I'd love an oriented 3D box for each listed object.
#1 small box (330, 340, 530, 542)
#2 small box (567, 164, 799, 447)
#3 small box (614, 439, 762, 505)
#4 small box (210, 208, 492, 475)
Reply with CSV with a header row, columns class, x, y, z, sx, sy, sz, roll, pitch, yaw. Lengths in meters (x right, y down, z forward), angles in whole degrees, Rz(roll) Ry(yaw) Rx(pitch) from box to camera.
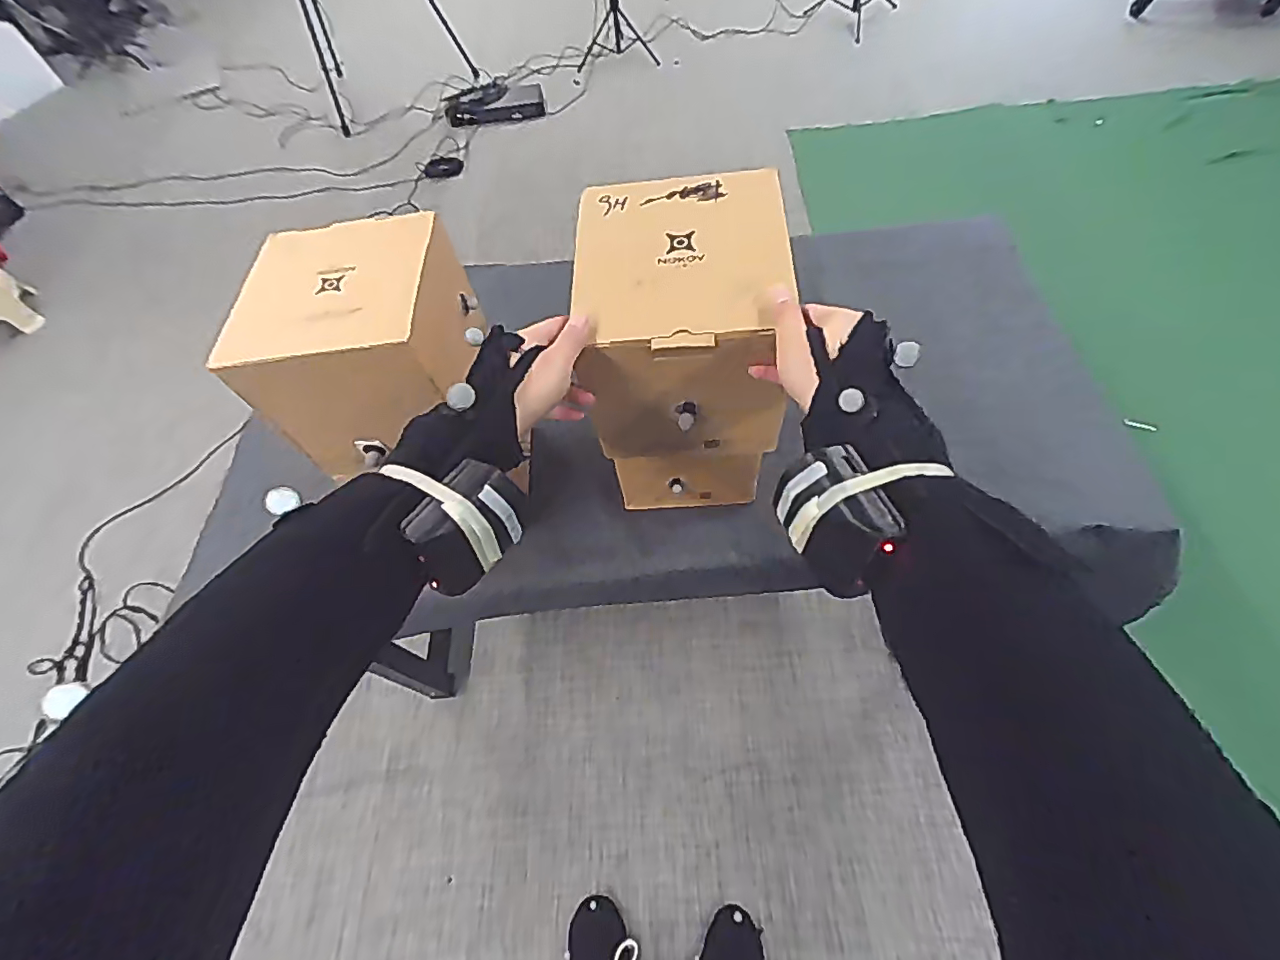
class,x,y,z,sx,sy,sz,roll,pitch,yaw
small box,-0.238,-0.043,0.664,0.168,0.176,0.179,-7,59,2
small box,0.039,-0.138,0.479,0.168,0.176,0.179,-3,64,6
small box,0.052,-0.087,0.663,0.168,0.176,0.179,-4,59,3
small box,-0.252,-0.127,0.526,0.168,0.176,0.179,-8,59,3
